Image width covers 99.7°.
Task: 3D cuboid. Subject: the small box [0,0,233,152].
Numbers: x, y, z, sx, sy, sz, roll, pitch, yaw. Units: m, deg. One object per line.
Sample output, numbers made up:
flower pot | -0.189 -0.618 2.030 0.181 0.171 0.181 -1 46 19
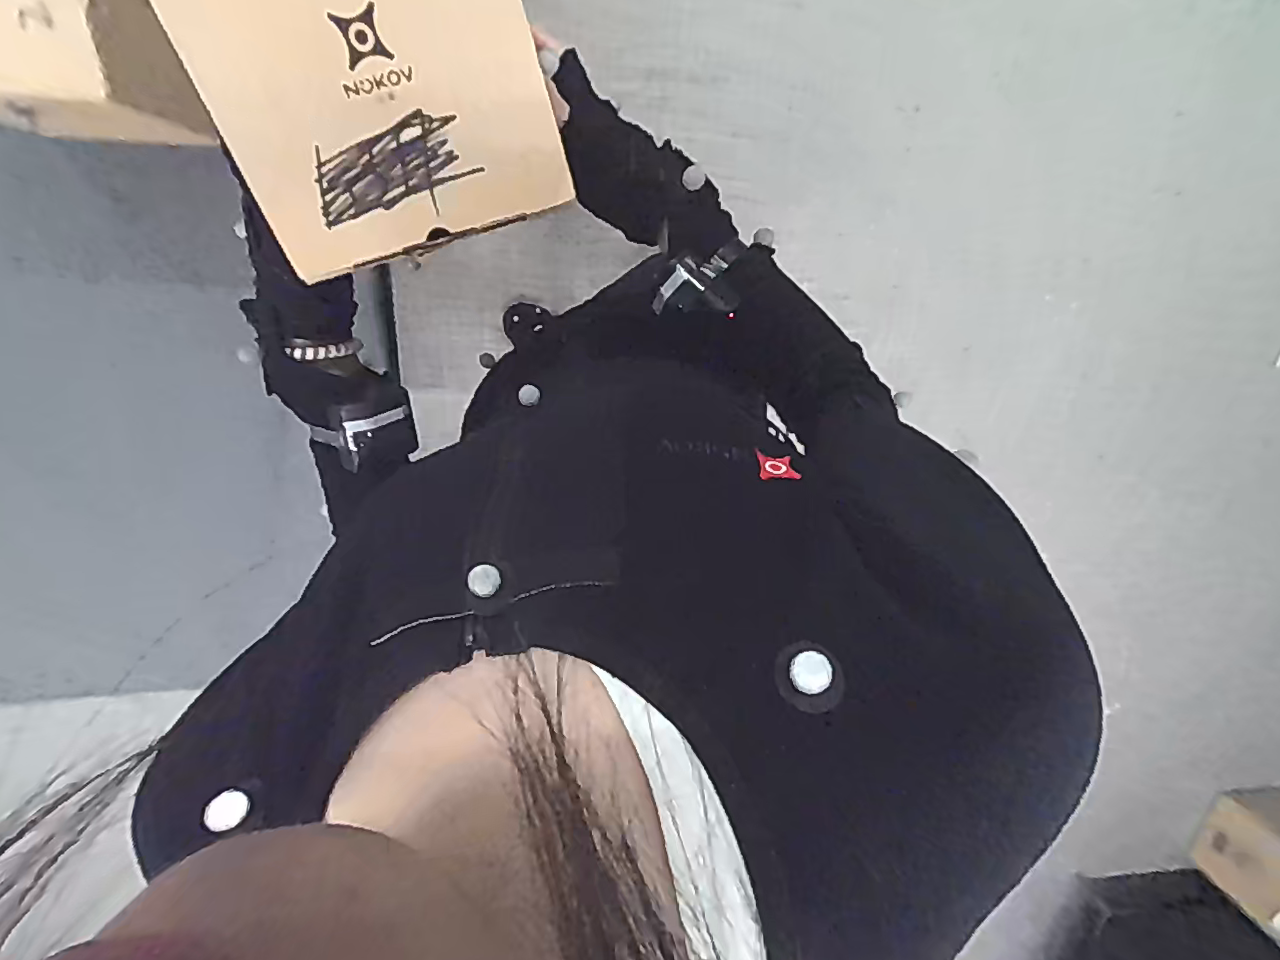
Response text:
small box | -0.505 -0.393 0.464 0.179 0.176 0.168 0 111 -6

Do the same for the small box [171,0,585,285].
small box | -0.139 -0.242 0.342 0.168 0.176 0.179 -17 117 -2
